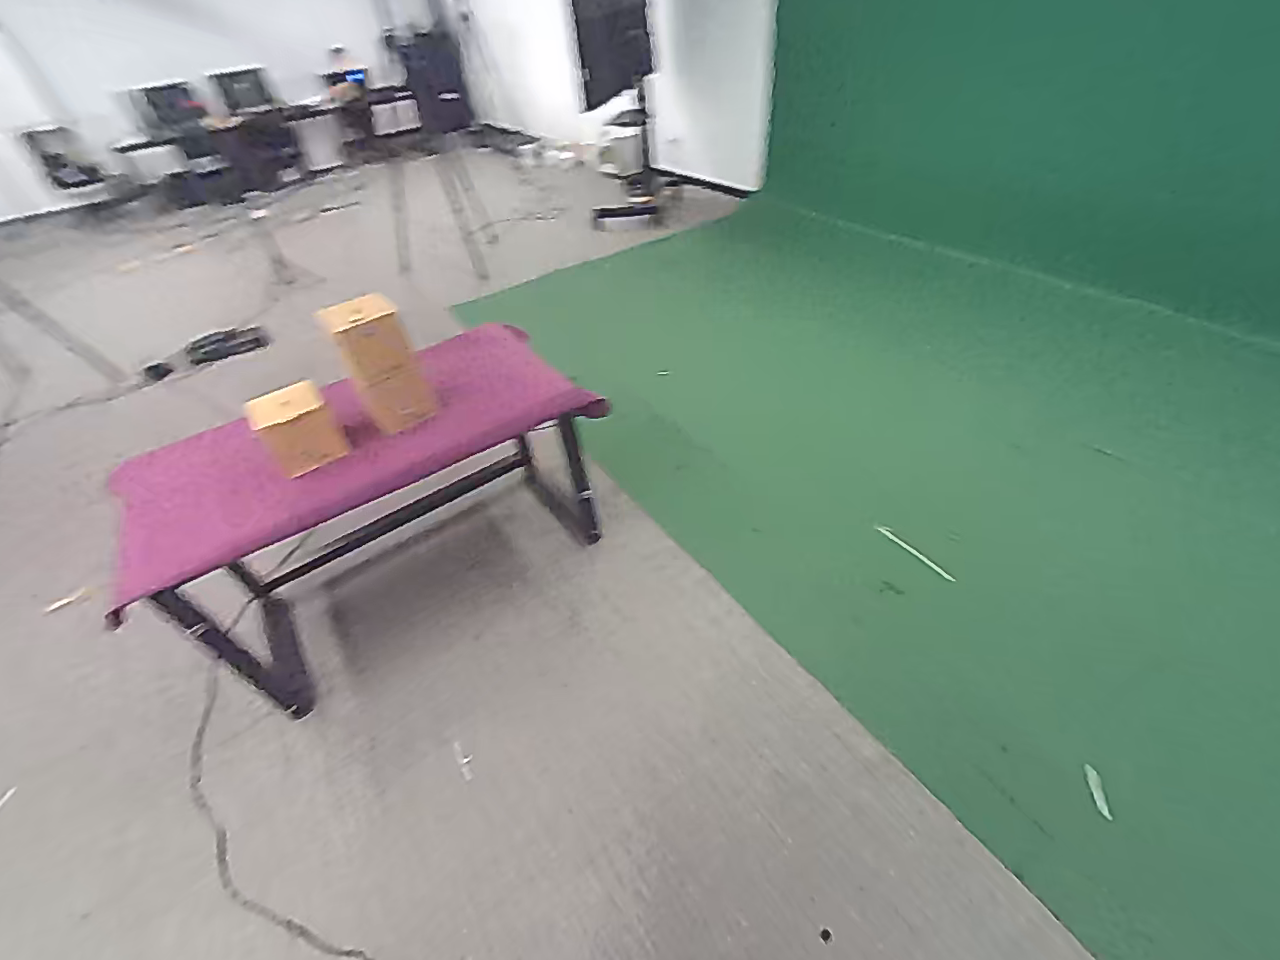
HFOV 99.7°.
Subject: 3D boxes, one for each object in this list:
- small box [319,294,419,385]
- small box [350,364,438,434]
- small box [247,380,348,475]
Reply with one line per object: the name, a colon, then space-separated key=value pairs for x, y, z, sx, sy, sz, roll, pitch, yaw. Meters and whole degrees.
small box: x=-0.737 y=-0.384 z=1.477 sx=0.168 sy=0.176 sz=0.179 roll=-32 pitch=47 yaw=-24
small box: x=-0.723 y=-0.263 z=1.587 sx=0.168 sy=0.176 sz=0.179 roll=-31 pitch=48 yaw=-24
small box: x=-0.937 y=-0.142 z=1.487 sx=0.168 sy=0.176 sz=0.179 roll=-30 pitch=48 yaw=-24
